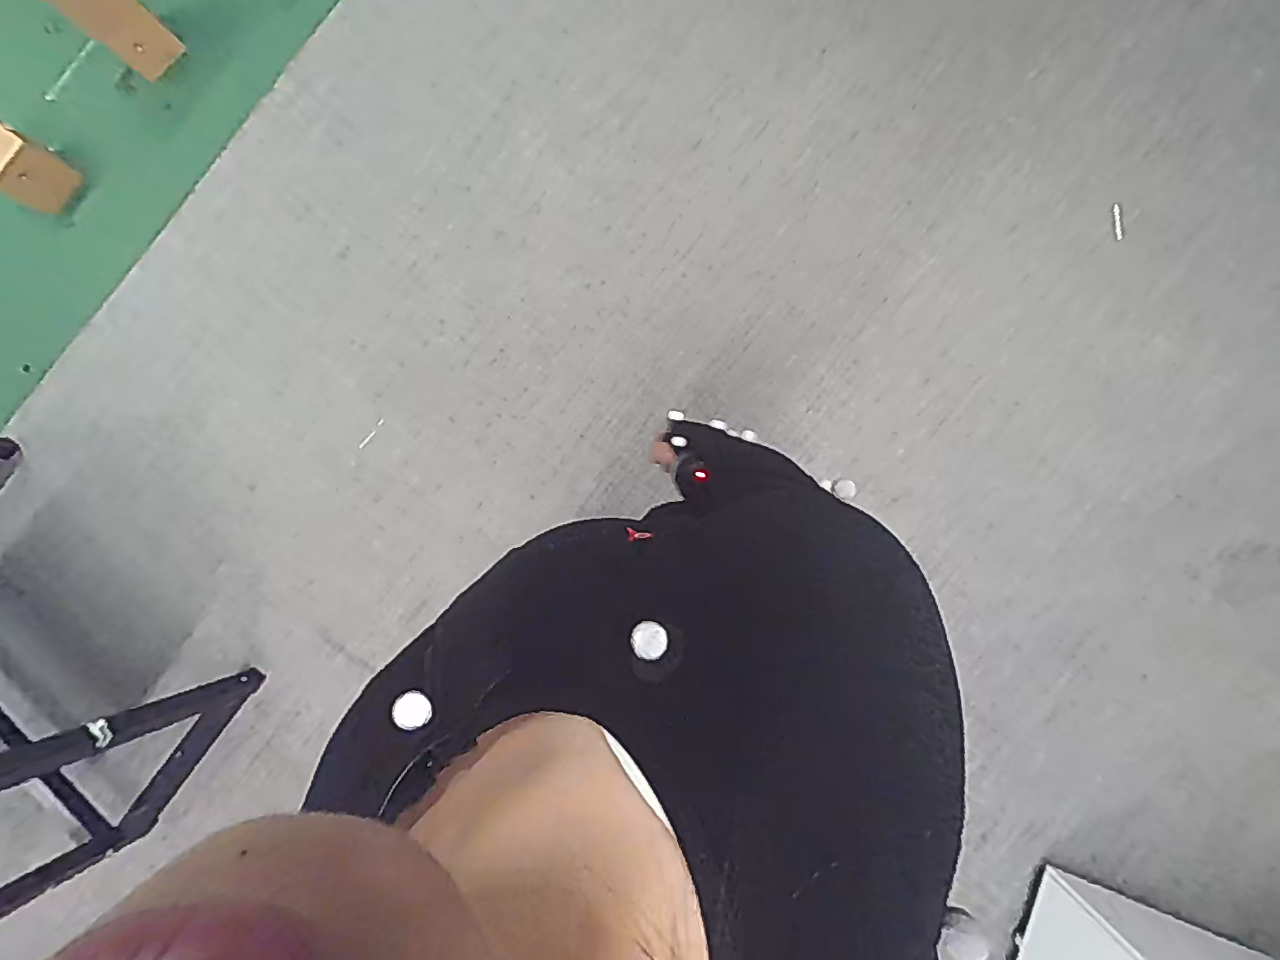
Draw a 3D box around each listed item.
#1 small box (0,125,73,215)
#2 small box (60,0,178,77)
[{"bbox_3d":[-1.940,-0.966,1.673,0.168,0.176,0.179,37,89,6],"label":"small box"},{"bbox_3d":[-1.609,-1.410,1.682,0.168,0.176,0.179,-45,83,0],"label":"small box"}]
